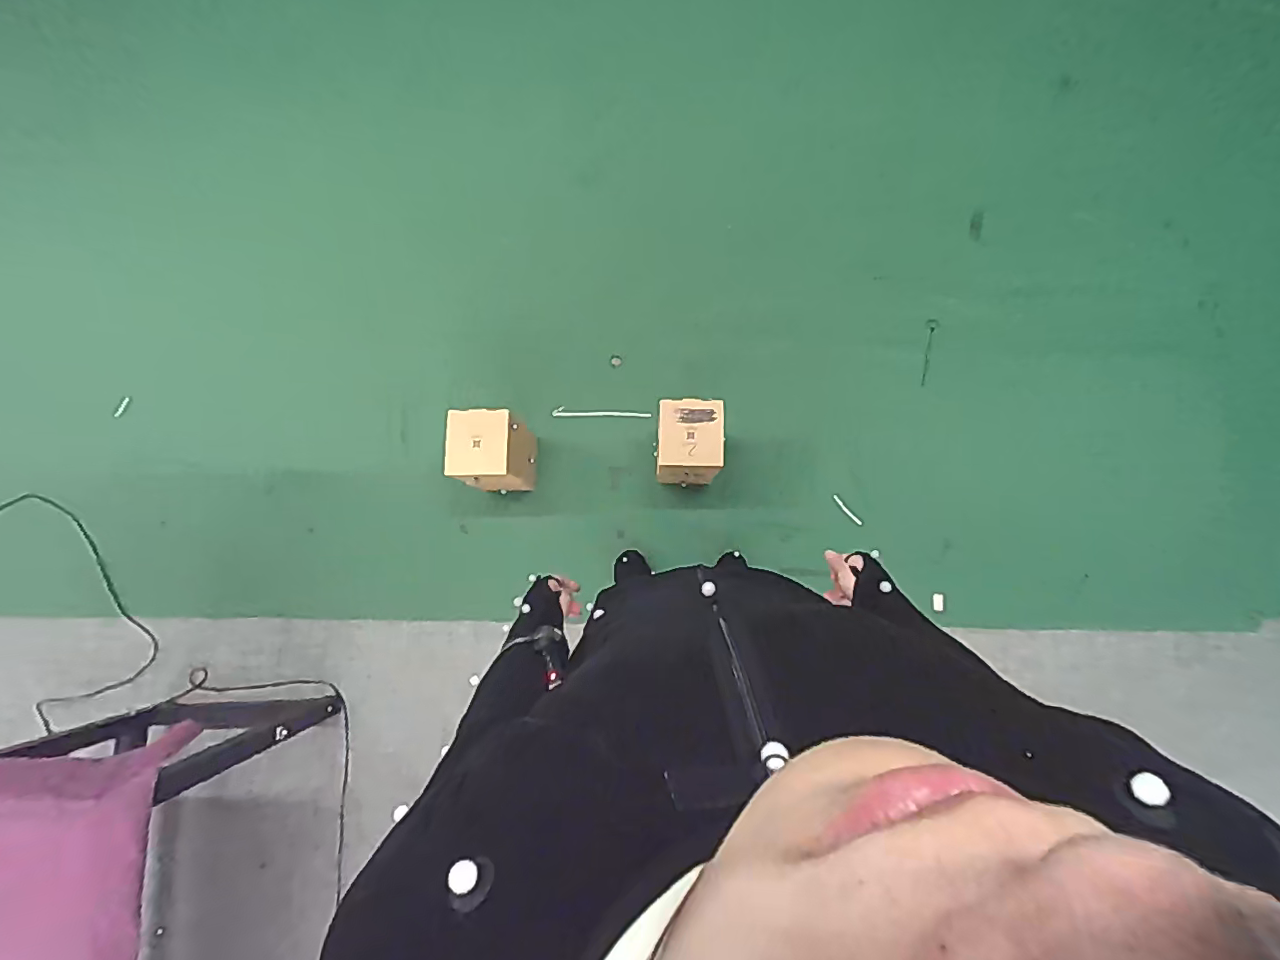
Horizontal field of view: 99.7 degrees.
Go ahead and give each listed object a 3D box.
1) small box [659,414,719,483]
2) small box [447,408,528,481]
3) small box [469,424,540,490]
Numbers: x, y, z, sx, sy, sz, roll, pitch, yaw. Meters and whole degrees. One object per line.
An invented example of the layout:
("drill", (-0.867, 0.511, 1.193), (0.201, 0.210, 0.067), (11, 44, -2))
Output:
("small box", (0.144, -0.090, 1.611), (0.168, 0.176, 0.179), (2, 83, 3))
("small box", (-0.410, -0.090, 1.476), (0.168, 0.176, 0.179), (-1, 81, 4))
("small box", (-0.404, -0.067, 1.635), (0.168, 0.176, 0.179), (0, 83, 3))
